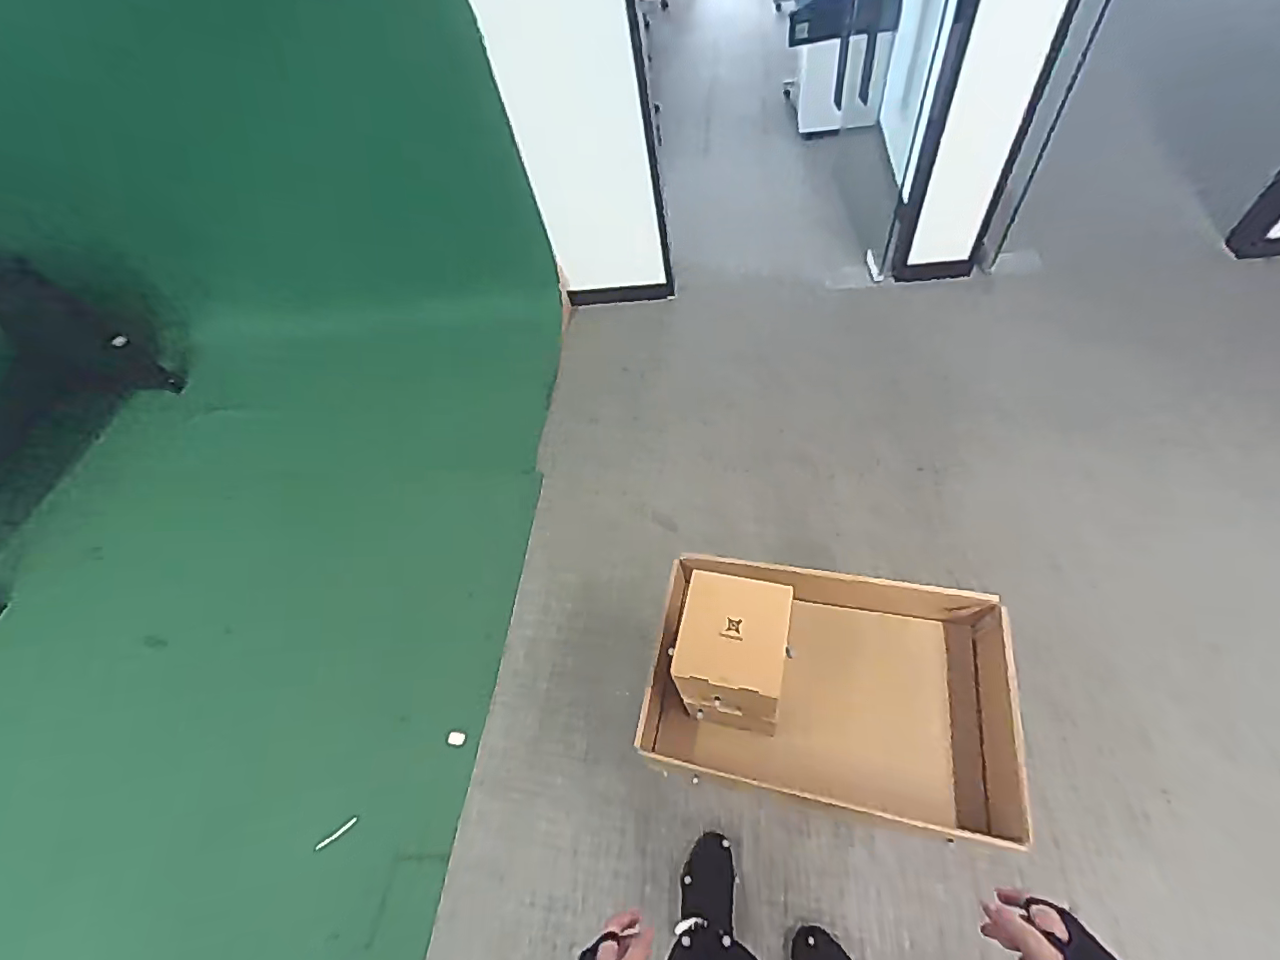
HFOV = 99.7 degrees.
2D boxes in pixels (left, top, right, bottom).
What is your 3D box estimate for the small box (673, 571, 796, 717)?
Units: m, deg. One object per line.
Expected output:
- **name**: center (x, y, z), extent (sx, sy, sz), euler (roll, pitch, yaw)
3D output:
- **small box**: center (0.158, 0.277, 0.904), extent (0.168, 0.176, 0.179), euler (9, 60, 15)
